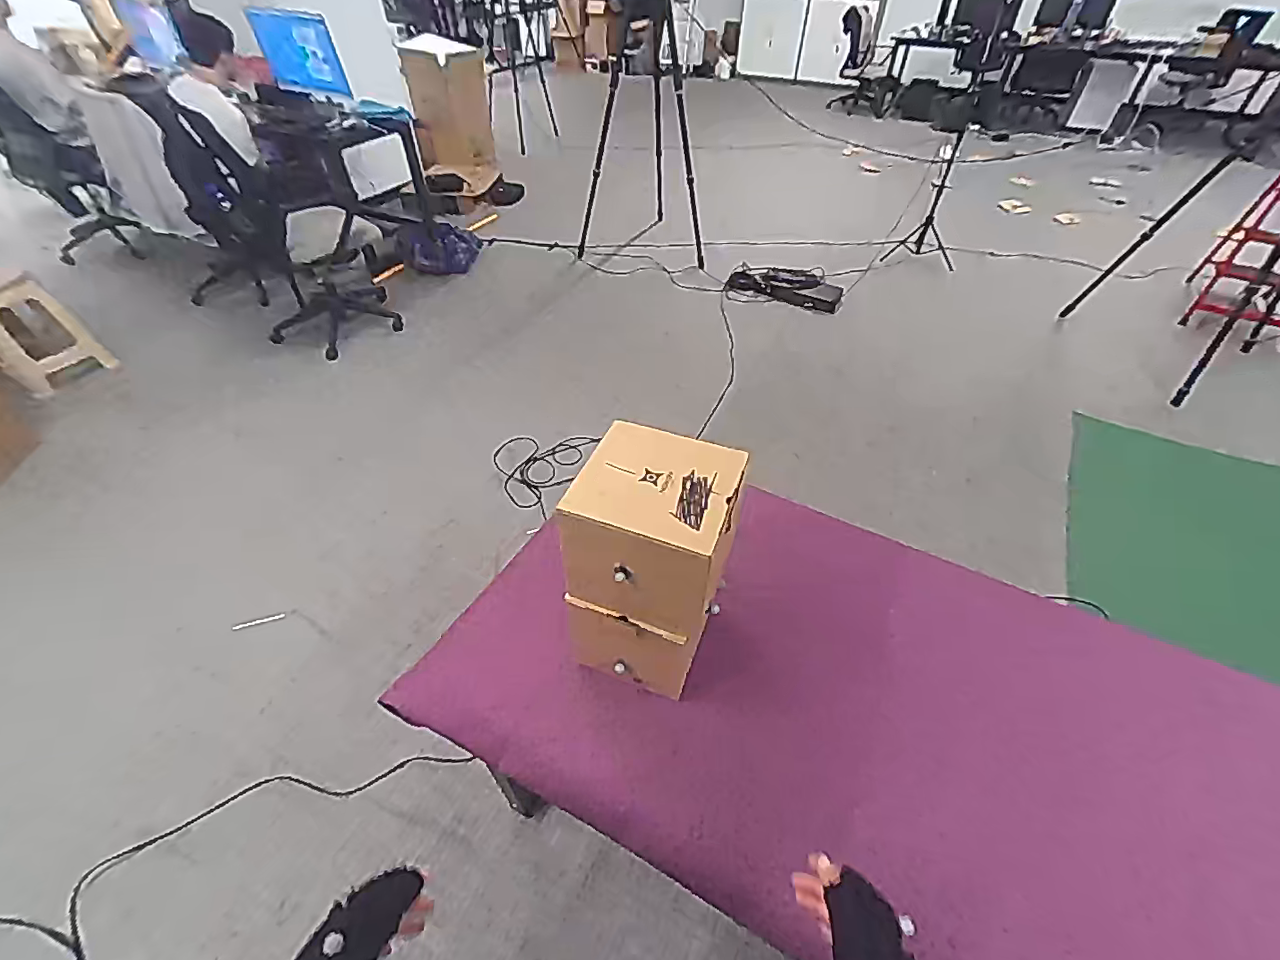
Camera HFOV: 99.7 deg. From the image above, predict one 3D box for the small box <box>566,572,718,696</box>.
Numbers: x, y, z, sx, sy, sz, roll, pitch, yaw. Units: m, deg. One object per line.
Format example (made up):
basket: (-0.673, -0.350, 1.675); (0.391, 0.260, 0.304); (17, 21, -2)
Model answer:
small box: (0.009, 0.172, 0.776); (0.168, 0.176, 0.179); (16, 47, 16)

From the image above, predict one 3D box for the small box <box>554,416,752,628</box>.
small box: (0.018, 0.054, 0.658); (0.179, 0.176, 0.168); (18, 46, 17)
